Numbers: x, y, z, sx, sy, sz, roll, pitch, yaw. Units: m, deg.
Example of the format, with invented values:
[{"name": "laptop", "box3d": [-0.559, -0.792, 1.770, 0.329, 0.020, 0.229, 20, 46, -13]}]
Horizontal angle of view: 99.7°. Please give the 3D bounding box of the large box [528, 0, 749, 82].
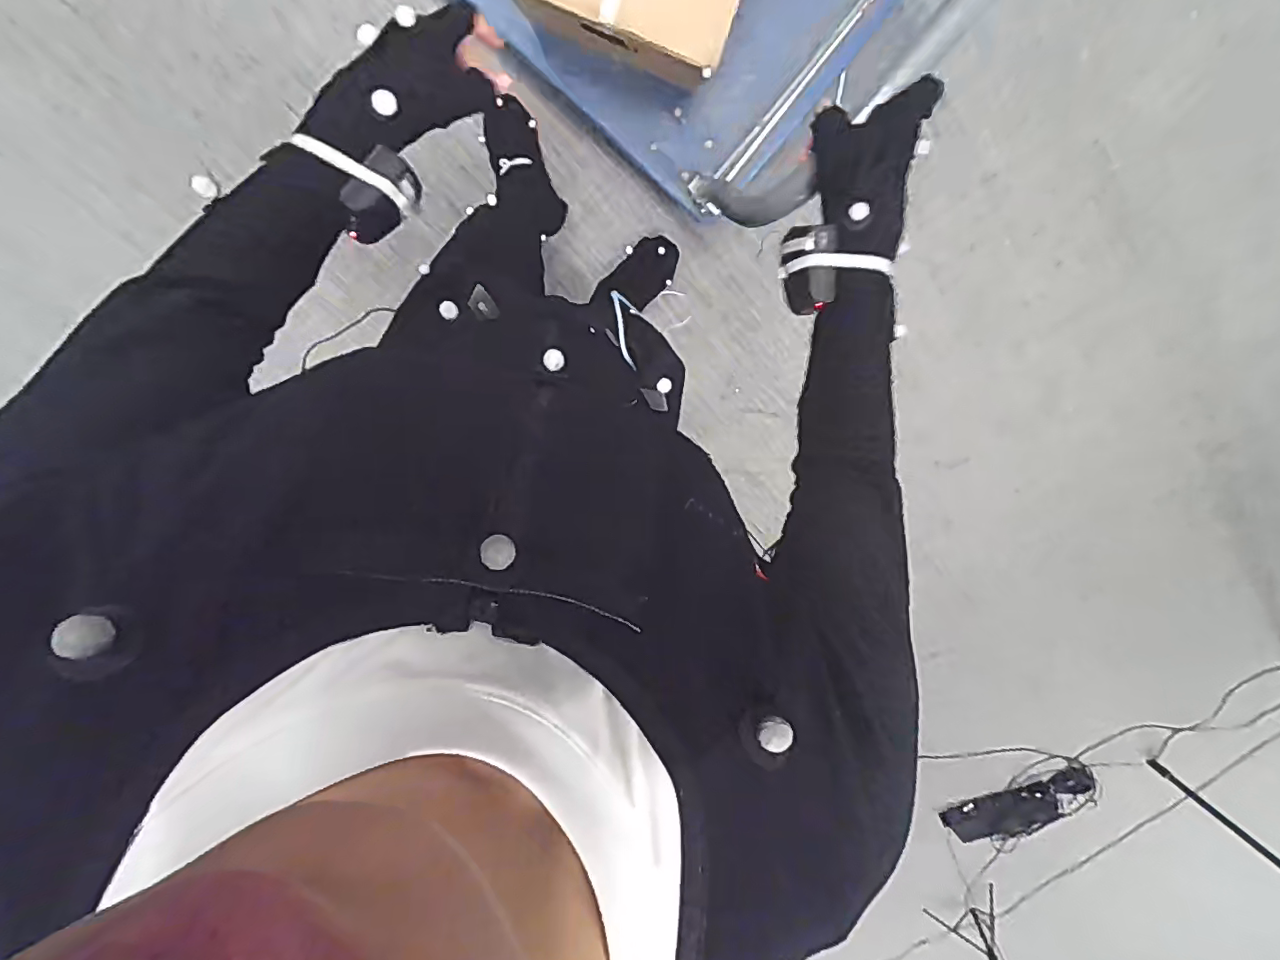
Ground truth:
[{"name": "large box", "box3d": [0.032, -0.838, 0.731, 0.320, 0.320, 0.408, 16, 122, -9]}]
